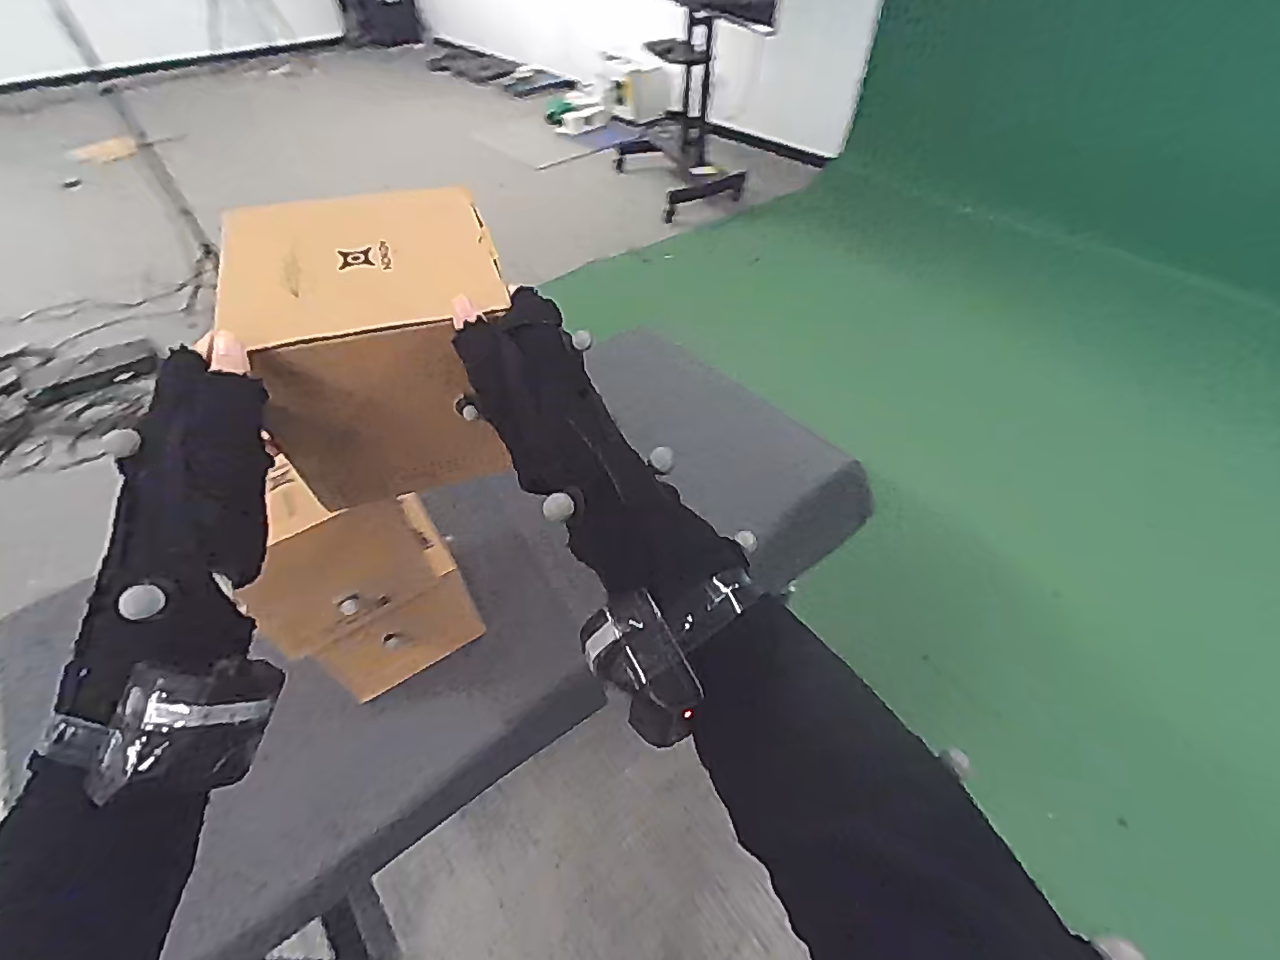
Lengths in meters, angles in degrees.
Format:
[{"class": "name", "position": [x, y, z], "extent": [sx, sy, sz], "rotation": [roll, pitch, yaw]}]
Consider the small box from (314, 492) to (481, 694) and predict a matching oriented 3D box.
[{"class": "small box", "position": [-0.339, 0.149, 0.719], "extent": [0.179, 0.176, 0.168], "rotation": [-29, 53, -21]}]

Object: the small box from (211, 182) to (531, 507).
[{"class": "small box", "position": [-0.192, -0.104, 0.431], "extent": [0.179, 0.176, 0.168], "rotation": [-16, 56, -13]}]

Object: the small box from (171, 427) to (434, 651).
[{"class": "small box", "position": [-0.354, 0.048, 0.589], "extent": [0.168, 0.176, 0.179], "rotation": [-32, 53, -24]}]
